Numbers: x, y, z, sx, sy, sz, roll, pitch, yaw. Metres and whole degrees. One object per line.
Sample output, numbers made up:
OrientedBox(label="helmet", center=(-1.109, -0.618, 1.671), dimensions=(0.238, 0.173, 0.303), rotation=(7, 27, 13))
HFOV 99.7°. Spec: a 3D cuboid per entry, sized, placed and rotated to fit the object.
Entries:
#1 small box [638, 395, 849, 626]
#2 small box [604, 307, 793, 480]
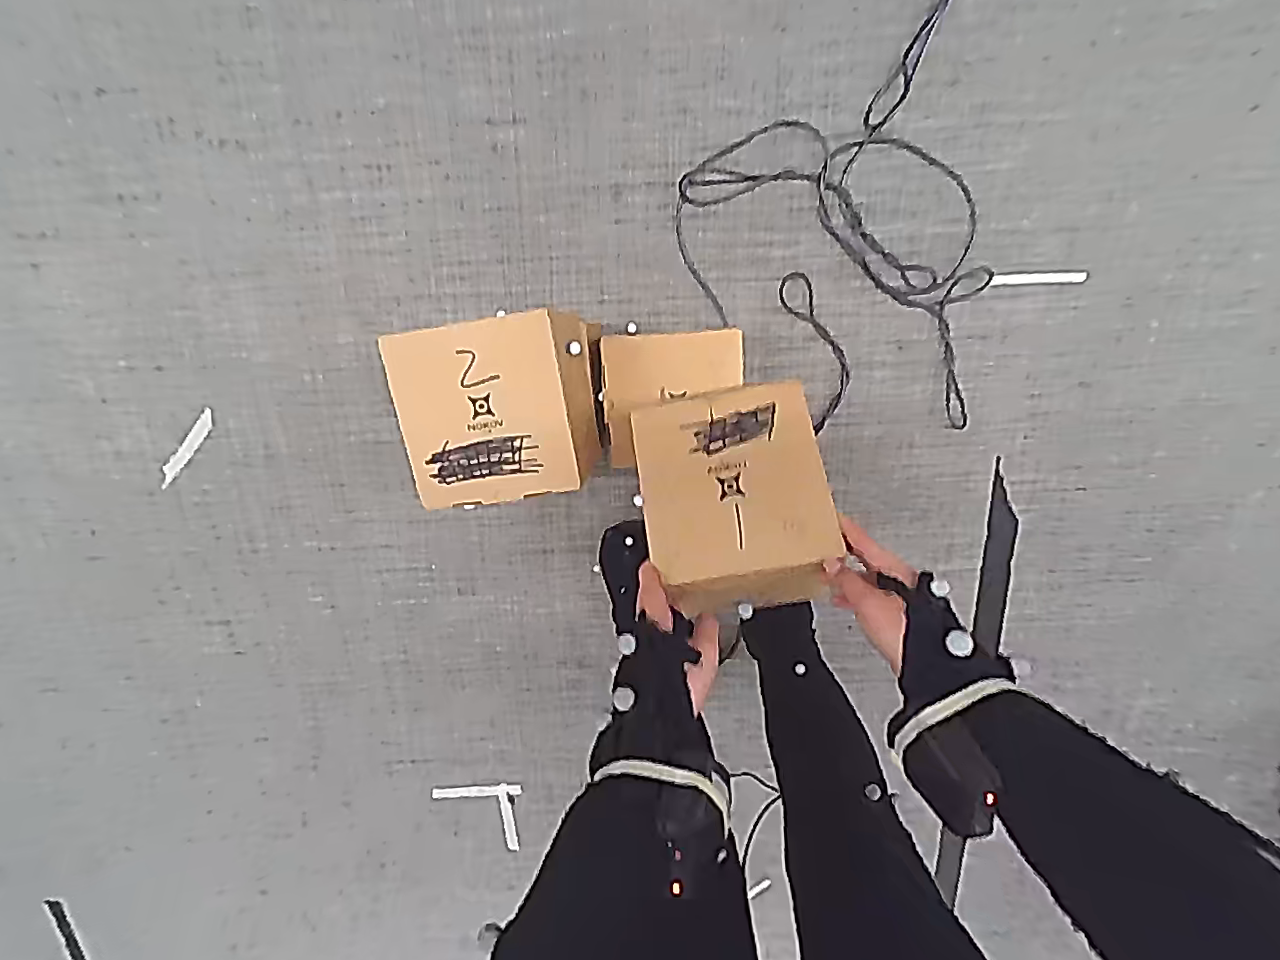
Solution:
OrientedBox(label="small box", center=(0.099, 0.041, 0.560), dimensions=(0.168, 0.176, 0.179), rotation=(-10, 65, 7))
OrientedBox(label="small box", center=(0.062, -0.094, 0.684), dimensions=(0.168, 0.176, 0.179), rotation=(17, 115, -17))
